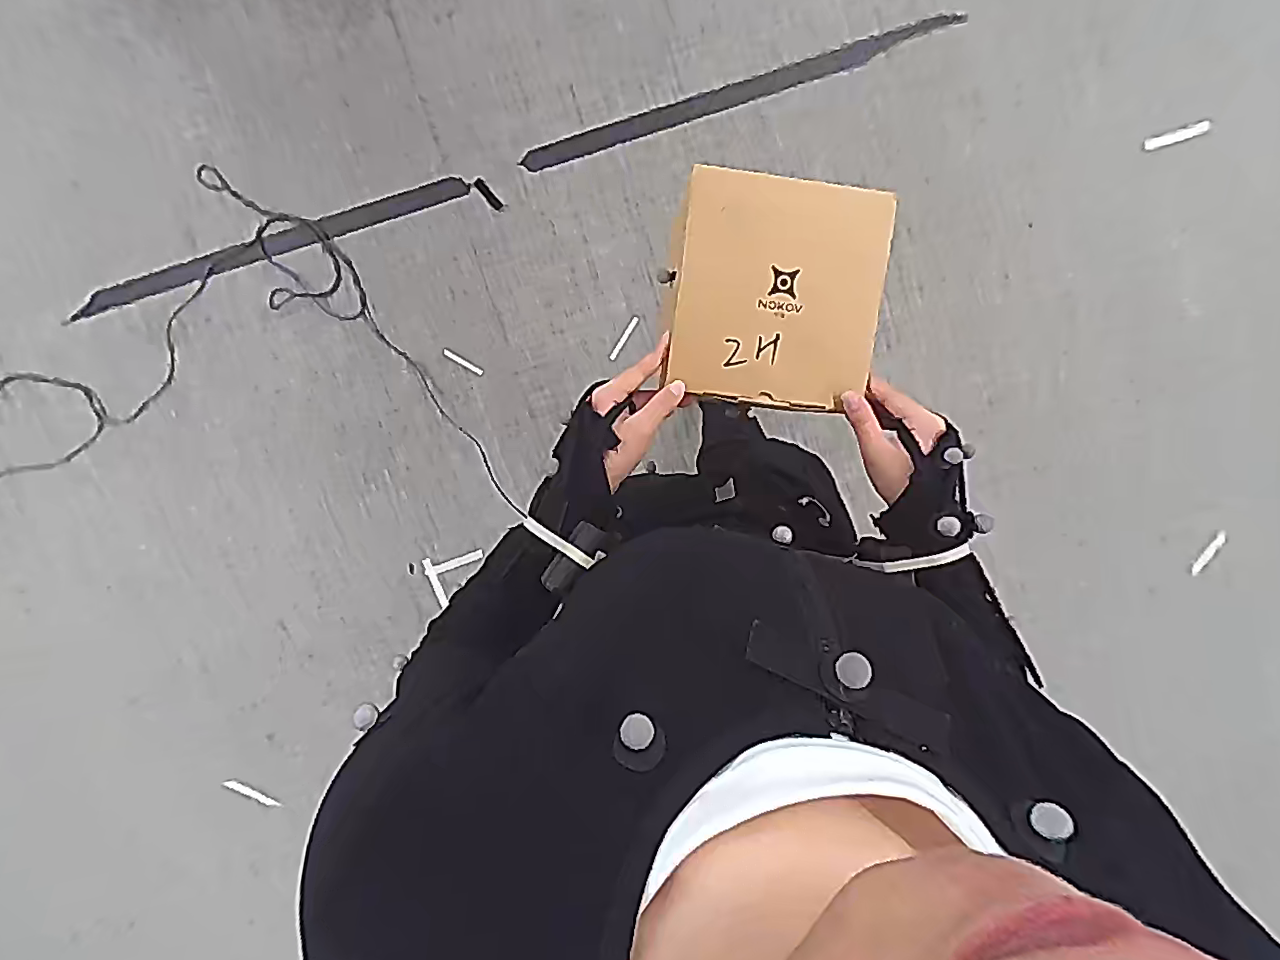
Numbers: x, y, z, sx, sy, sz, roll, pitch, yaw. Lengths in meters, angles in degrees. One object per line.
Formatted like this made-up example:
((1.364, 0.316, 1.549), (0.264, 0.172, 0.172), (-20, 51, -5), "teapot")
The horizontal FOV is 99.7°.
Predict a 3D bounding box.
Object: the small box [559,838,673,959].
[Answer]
((-0.038, 0.842, 1.036), (0.168, 0.176, 0.179), (-20, 96, 3), "small box")

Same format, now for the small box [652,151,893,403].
((0.105, -0.169, 0.508), (0.168, 0.176, 0.179), (6, 98, -3), "small box")
